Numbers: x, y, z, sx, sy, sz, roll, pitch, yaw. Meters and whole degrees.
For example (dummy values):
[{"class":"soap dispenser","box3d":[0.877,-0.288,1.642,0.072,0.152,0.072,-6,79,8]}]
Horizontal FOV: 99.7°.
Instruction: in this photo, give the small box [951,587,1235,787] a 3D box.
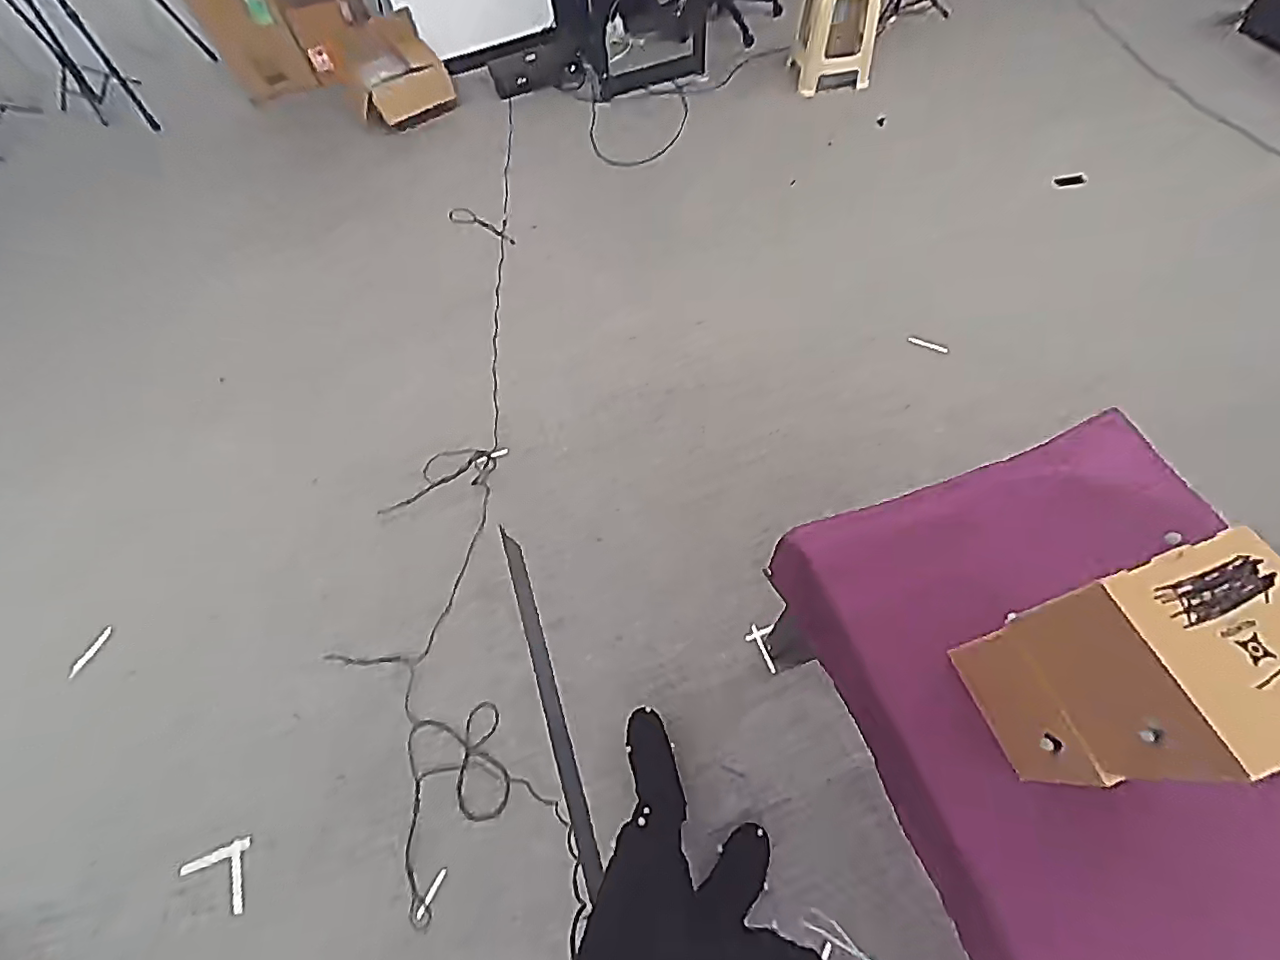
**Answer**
[{"class":"small box","box3d":[0.539,0.259,0.678,0.168,0.176,0.179,-18,63,-5]}]
